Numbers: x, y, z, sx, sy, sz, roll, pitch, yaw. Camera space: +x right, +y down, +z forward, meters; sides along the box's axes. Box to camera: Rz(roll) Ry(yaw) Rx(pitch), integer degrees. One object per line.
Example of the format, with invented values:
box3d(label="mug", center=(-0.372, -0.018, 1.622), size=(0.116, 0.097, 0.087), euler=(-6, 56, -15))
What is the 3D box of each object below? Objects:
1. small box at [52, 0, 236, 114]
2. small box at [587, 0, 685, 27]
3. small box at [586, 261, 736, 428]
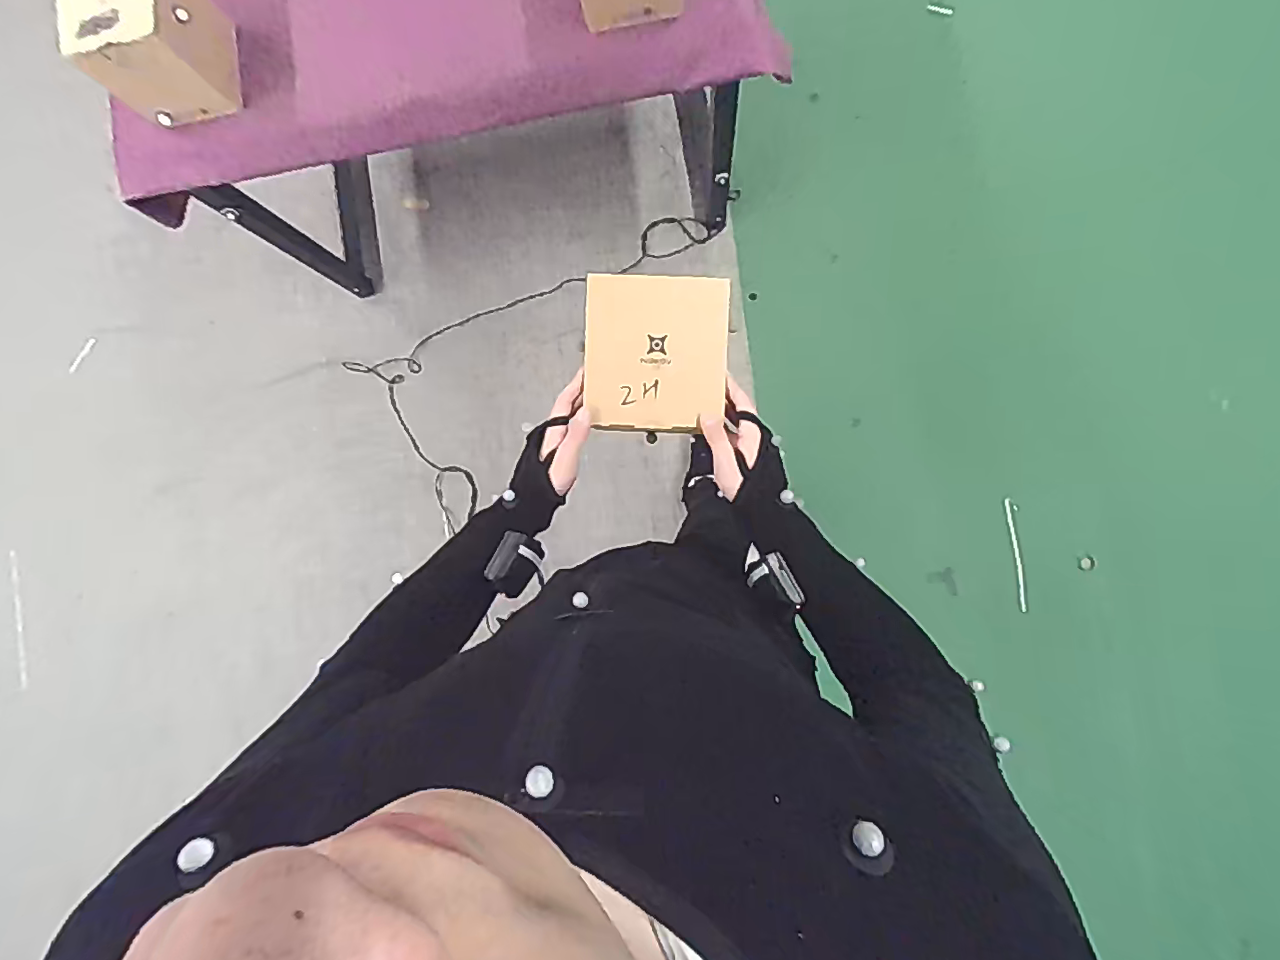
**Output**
box3d(label="small box", center=(-0.826, -0.759, 0.914), size=(0.168, 0.176, 0.179), euler=(-8, 87, 4))
box3d(label="small box", center=(-0.020, -0.870, 0.842), size=(0.168, 0.176, 0.179), euler=(-6, 85, 6))
box3d(label="small box", center=(0.023, -0.161, 0.694), size=(0.168, 0.176, 0.179), euler=(2, 93, 0))
